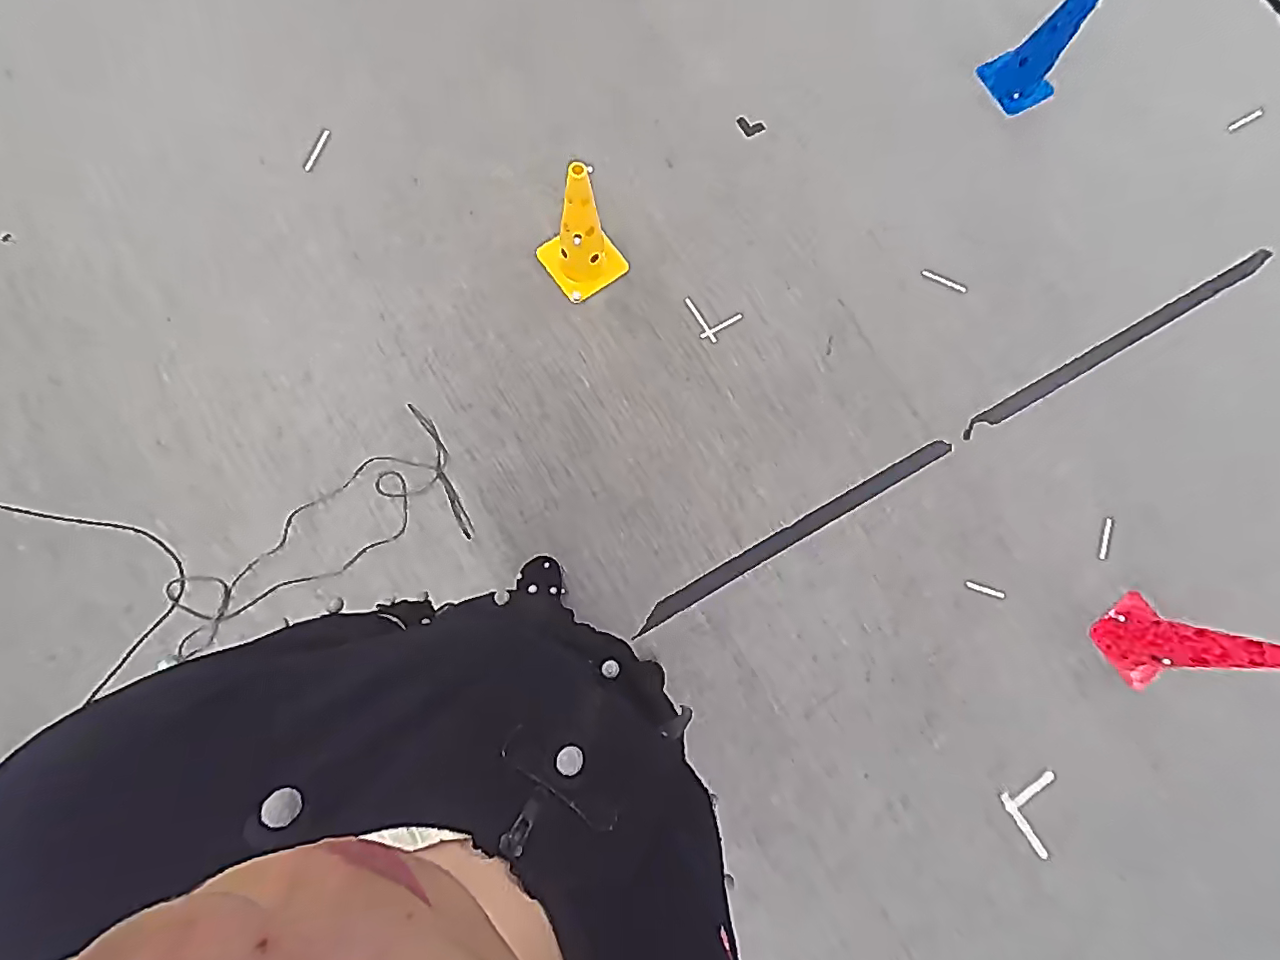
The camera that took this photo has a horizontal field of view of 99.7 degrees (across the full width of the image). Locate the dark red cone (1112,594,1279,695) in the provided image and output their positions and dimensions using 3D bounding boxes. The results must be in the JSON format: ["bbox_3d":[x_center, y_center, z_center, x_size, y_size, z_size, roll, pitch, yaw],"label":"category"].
[{"bbox_3d":[1.360,0.397,1.248,0.202,0.394,0.201,-37,84,-9],"label":"dark red cone"}]

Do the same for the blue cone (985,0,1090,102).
[{"bbox_3d":[1.223,-1.330,1.561,0.193,0.380,0.192,-28,82,-8],"label":"blue cone"}]
